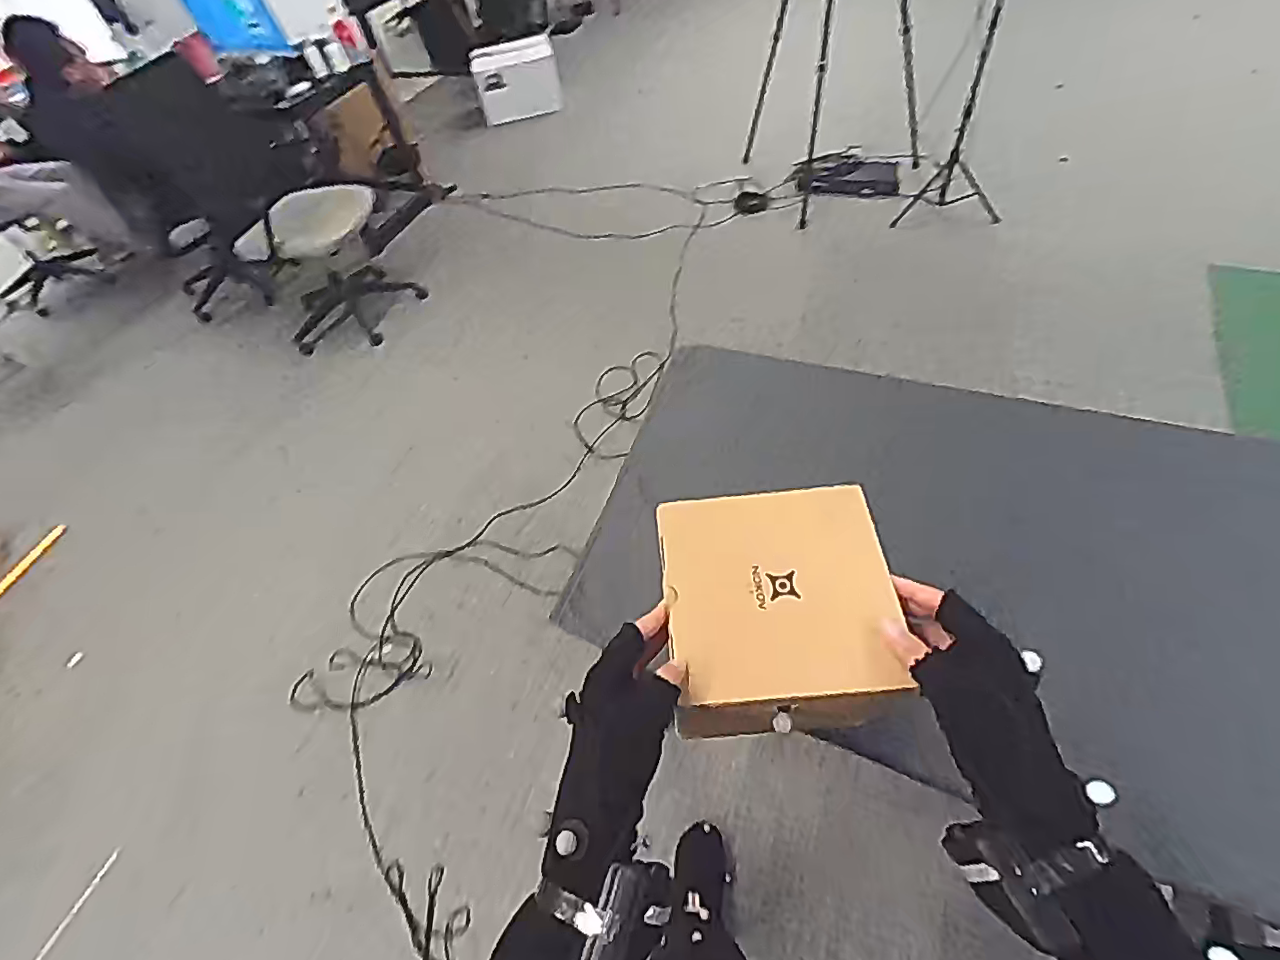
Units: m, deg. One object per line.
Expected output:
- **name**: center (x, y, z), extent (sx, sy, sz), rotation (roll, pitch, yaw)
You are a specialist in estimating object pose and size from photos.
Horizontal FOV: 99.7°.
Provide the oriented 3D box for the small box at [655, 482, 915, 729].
- **small box**: center (0.108, 0.120, 0.485), extent (0.179, 0.176, 0.168), rotation (-6, 57, 3)
